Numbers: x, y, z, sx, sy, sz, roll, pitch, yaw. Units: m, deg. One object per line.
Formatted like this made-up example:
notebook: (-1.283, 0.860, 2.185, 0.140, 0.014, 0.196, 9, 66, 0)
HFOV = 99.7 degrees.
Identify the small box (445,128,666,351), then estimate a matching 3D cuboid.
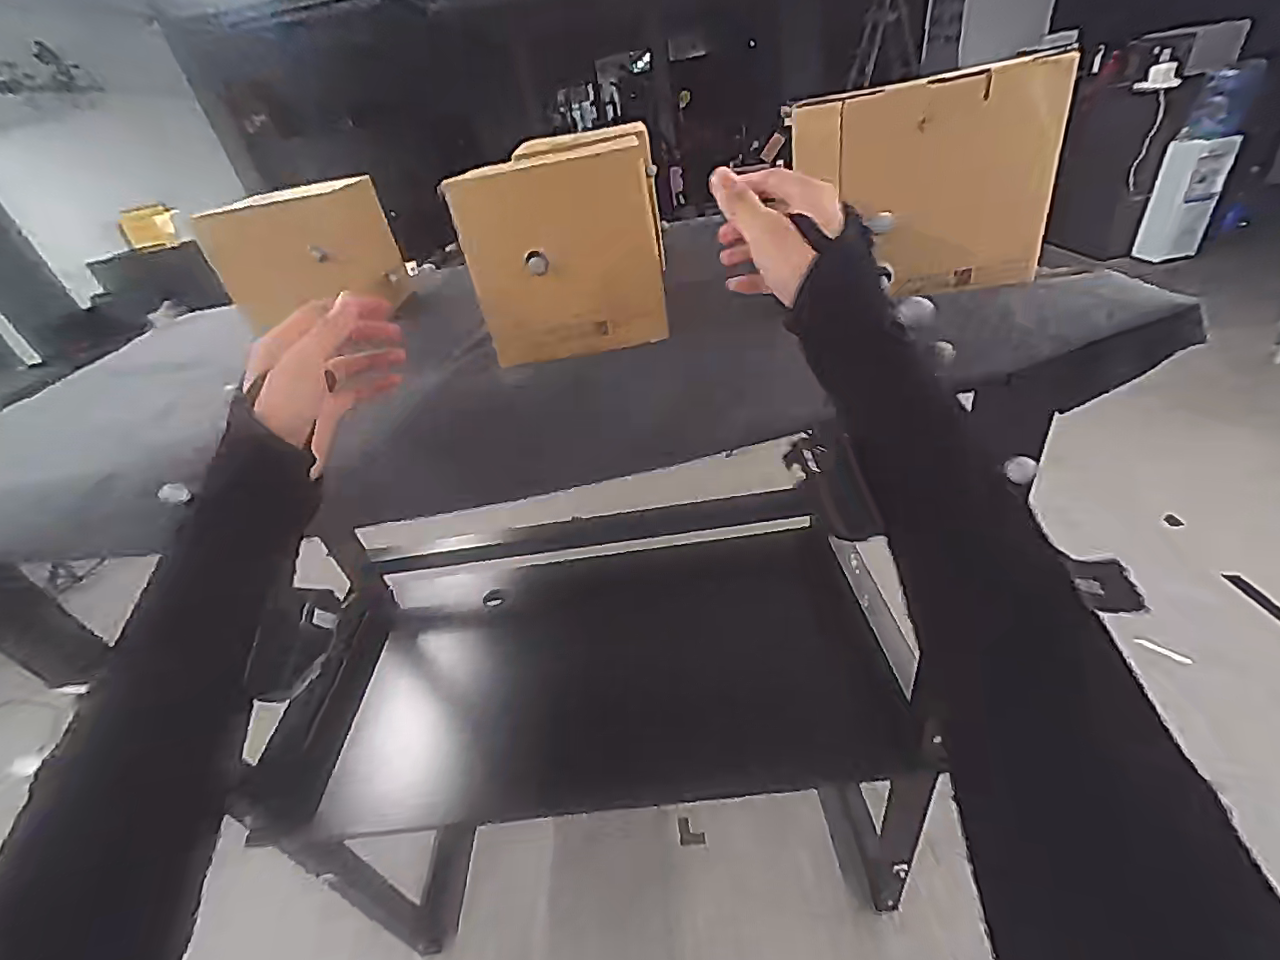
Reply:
small box: (-0.069, -0.240, 0.549, 0.168, 0.176, 0.179, -9, 33, 4)

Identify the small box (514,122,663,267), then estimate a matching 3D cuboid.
small box: (-0.063, -0.387, 0.756, 0.168, 0.176, 0.179, -9, 34, 3)

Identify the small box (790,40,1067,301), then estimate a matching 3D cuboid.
small box: (0.242, -0.275, 0.504, 0.168, 0.176, 0.179, -8, 31, 6)
